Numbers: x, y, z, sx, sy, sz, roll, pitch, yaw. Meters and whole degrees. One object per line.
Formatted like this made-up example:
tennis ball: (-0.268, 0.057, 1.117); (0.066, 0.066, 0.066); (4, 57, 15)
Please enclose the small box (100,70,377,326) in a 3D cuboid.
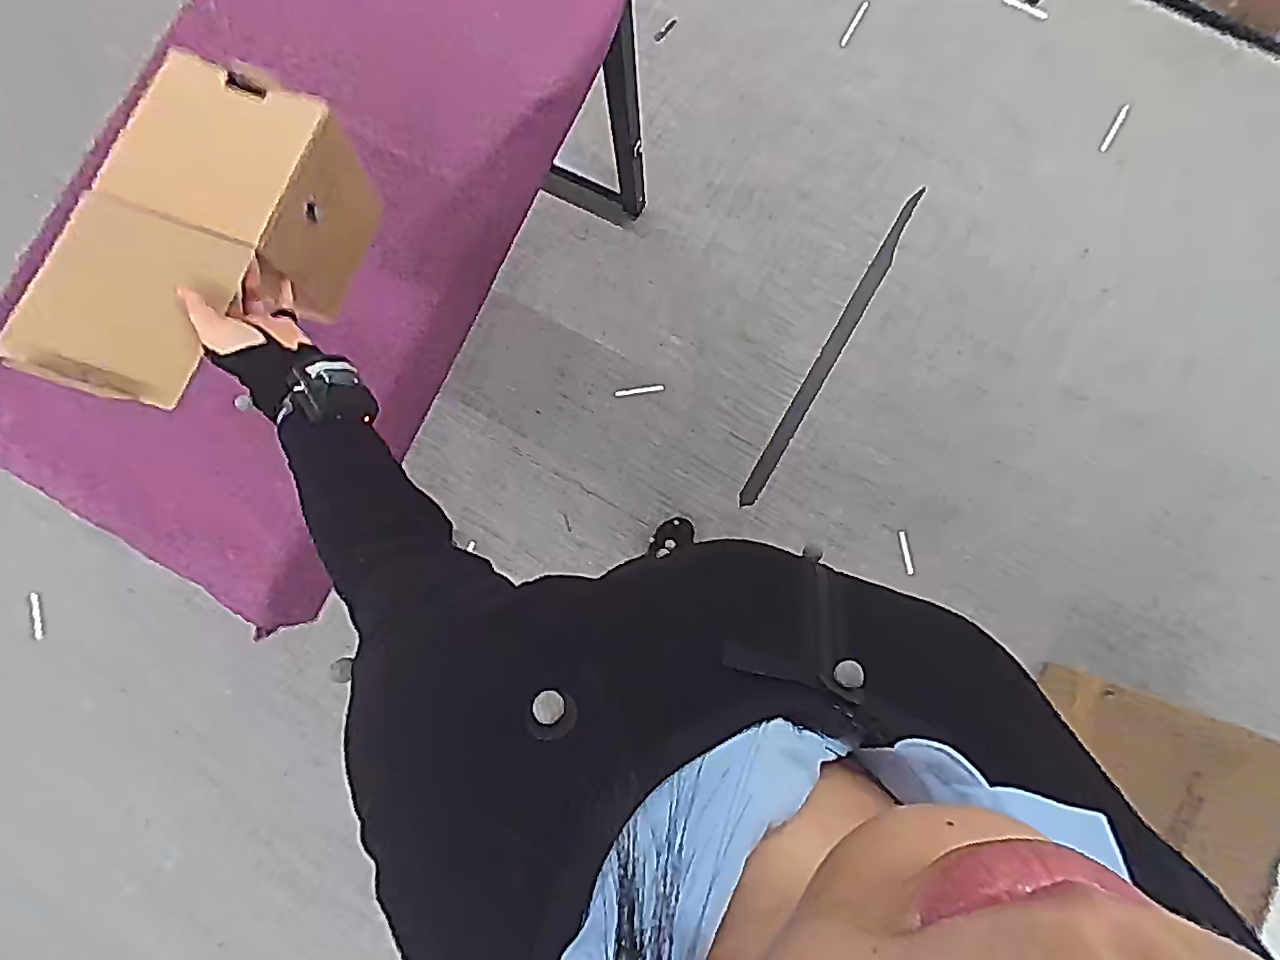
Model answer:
small box: (-0.435, -0.308, 0.627); (0.168, 0.176, 0.179); (18, 76, -4)
